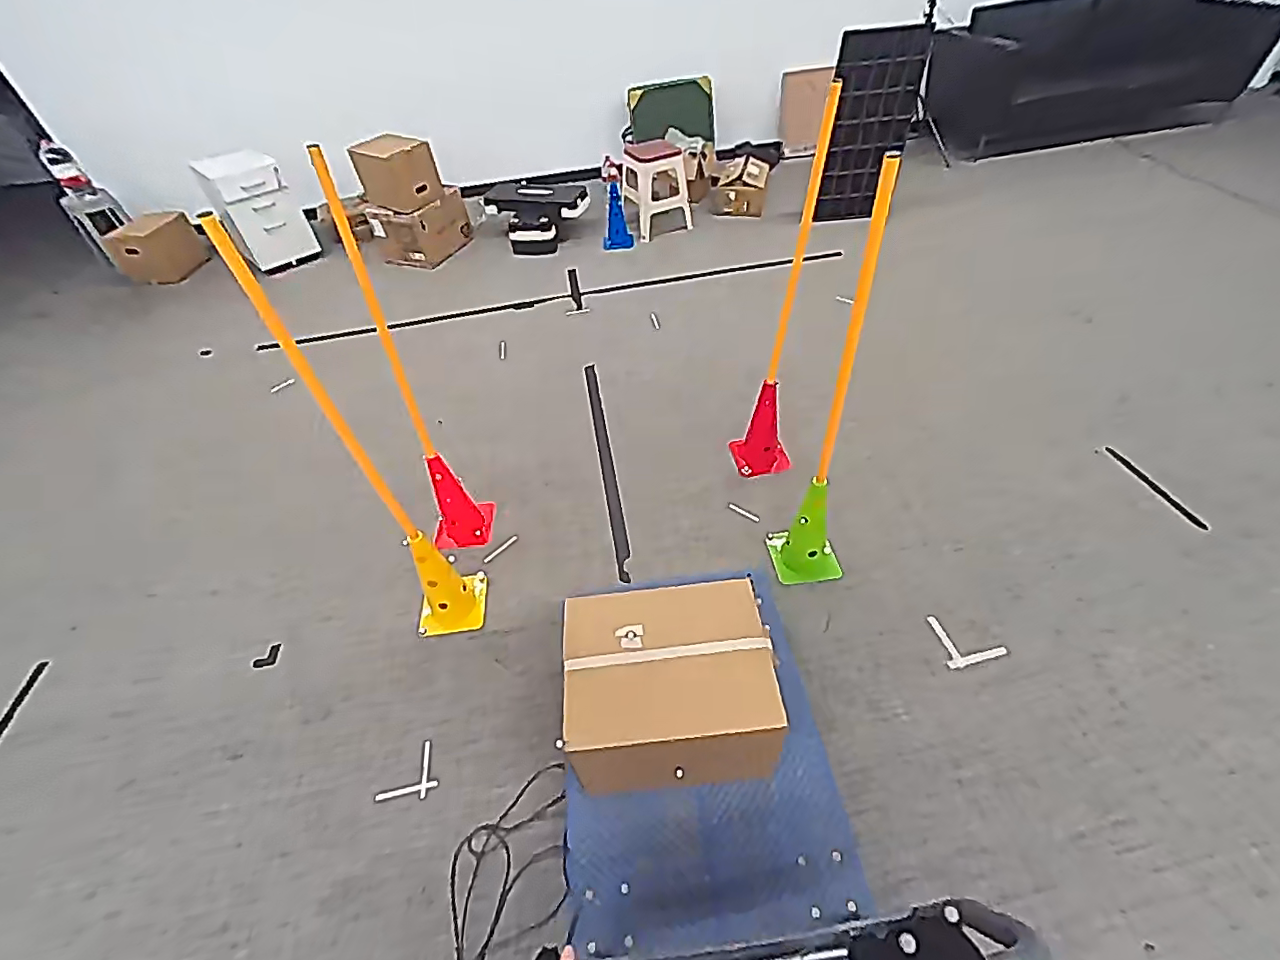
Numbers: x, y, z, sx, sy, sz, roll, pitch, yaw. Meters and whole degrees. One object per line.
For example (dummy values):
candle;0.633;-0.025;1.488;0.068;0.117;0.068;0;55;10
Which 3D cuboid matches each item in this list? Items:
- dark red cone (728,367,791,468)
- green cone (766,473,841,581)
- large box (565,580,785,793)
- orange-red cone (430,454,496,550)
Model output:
dark red cone;0.450;-0.234;1.966;0.201;0.394;0.202;-9;47;-5
green cone;0.520;0.121;1.643;0.202;0.368;0.200;-7;46;-2
large box;0.066;0.453;1.175;0.408;0.320;0.320;-7;46;1
orange-red cone;-0.640;0.051;1.842;0.198;0.360;0.199;-5;45;1
